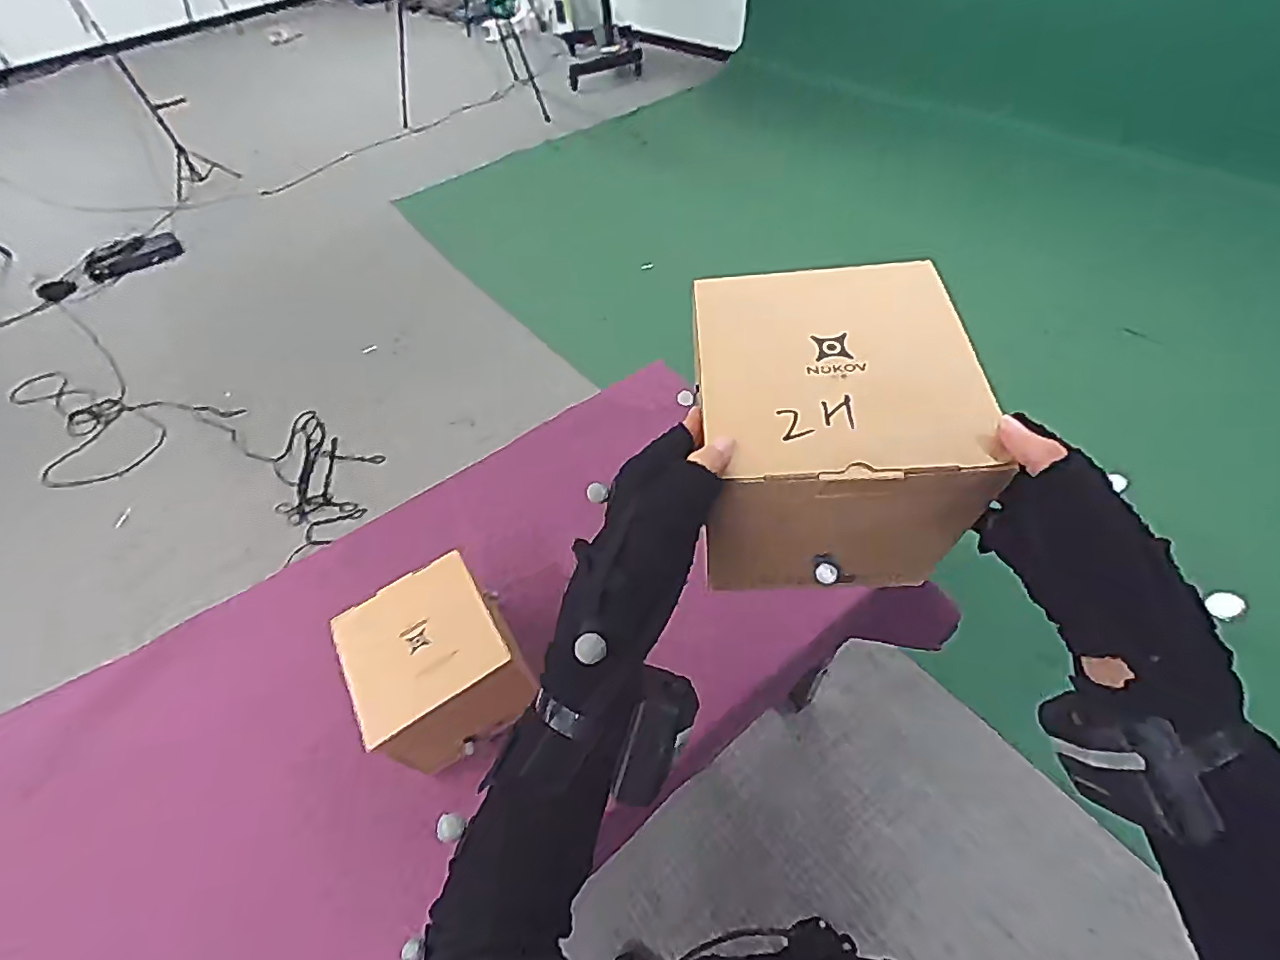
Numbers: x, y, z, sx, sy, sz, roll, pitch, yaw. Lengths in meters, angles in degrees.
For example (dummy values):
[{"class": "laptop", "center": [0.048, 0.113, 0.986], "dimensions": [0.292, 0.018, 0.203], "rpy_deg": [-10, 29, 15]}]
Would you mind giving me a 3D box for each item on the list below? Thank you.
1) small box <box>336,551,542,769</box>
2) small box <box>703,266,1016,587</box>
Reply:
[{"class": "small box", "center": [-0.247, 0.230, 0.687], "dimensions": [0.168, 0.176, 0.179], "rpy_deg": [-30, 55, -15]}, {"class": "small box", "center": [0.132, -0.033, 0.409], "dimensions": [0.168, 0.176, 0.179], "rpy_deg": [-2, 57, 6]}]
